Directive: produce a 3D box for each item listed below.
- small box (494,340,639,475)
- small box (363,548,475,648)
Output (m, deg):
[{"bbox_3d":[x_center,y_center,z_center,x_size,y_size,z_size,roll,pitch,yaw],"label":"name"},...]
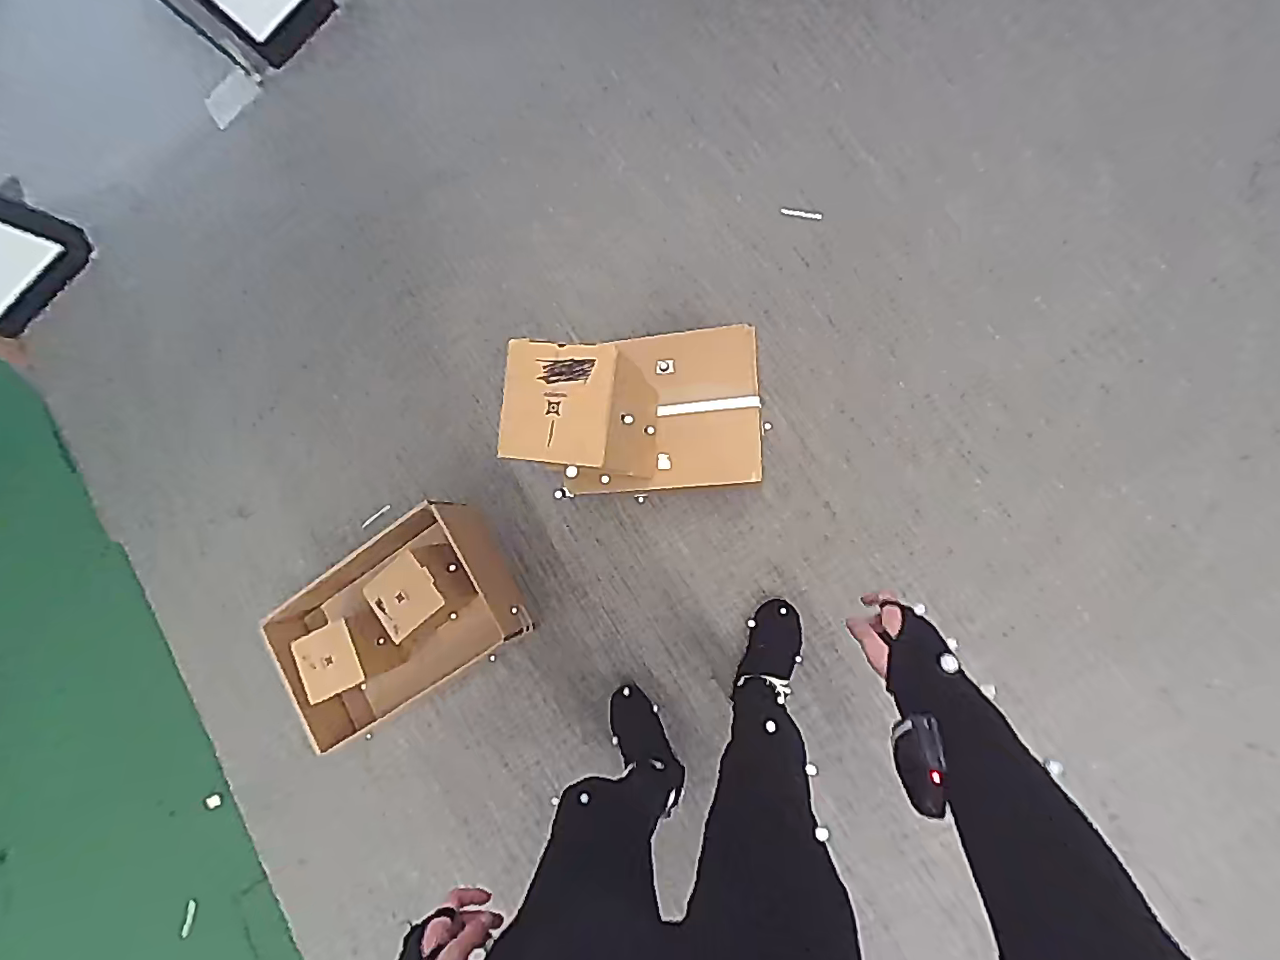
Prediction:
[{"bbox_3d":[-0.103,-0.104,0.839,0.168,0.176,0.179,6,90,14],"label":"small box"},{"bbox_3d":[-0.545,0.289,1.367,0.179,0.176,0.168,-39,79,9],"label":"small box"}]
